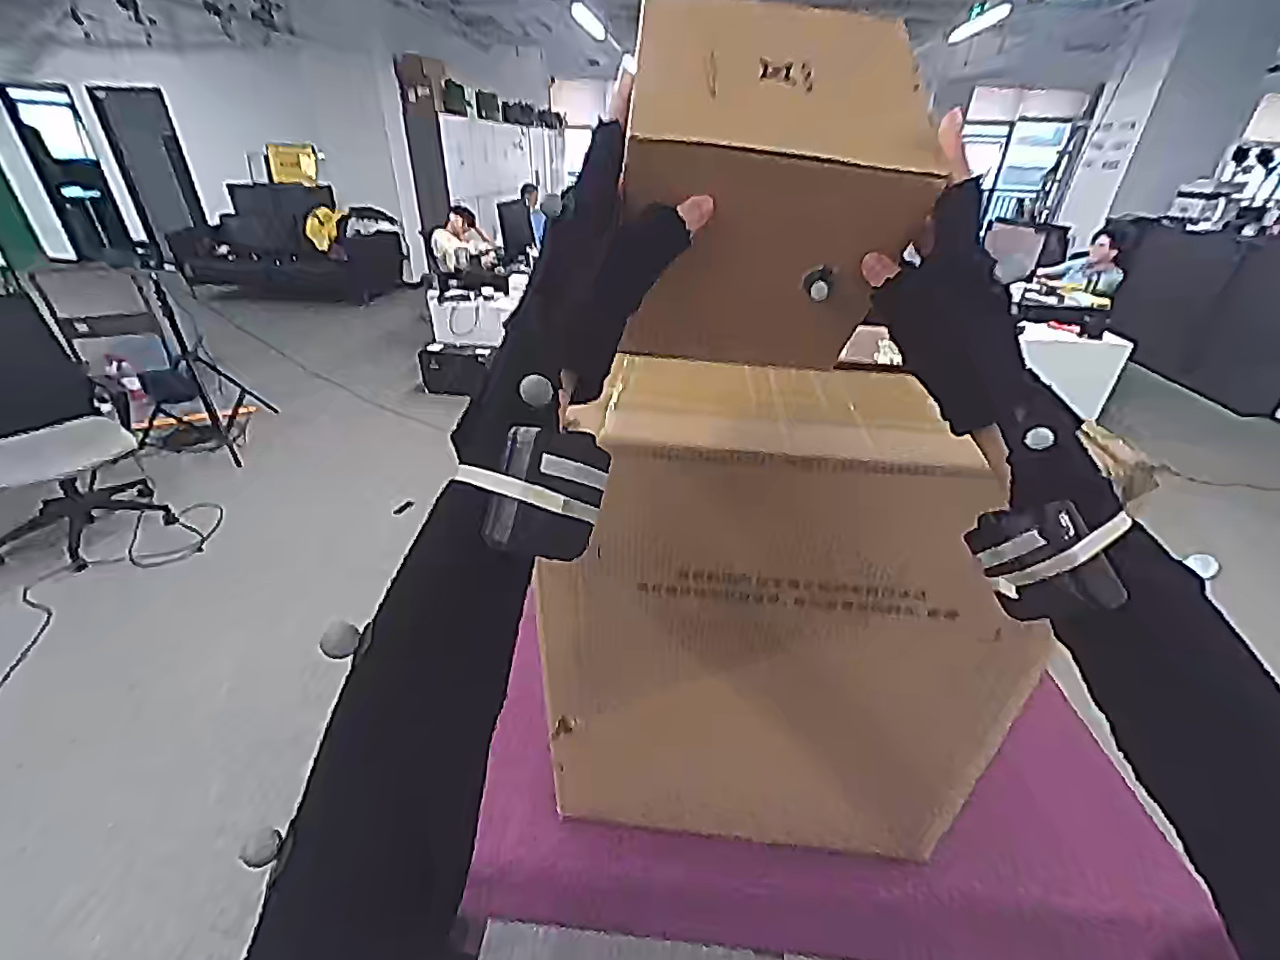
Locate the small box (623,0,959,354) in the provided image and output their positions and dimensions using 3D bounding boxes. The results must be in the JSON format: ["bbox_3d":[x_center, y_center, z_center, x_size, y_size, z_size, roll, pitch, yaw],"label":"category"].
[{"bbox_3d":[0.083,-0.211,0.392,0.179,0.176,0.168,4,61,-2],"label":"small box"}]
